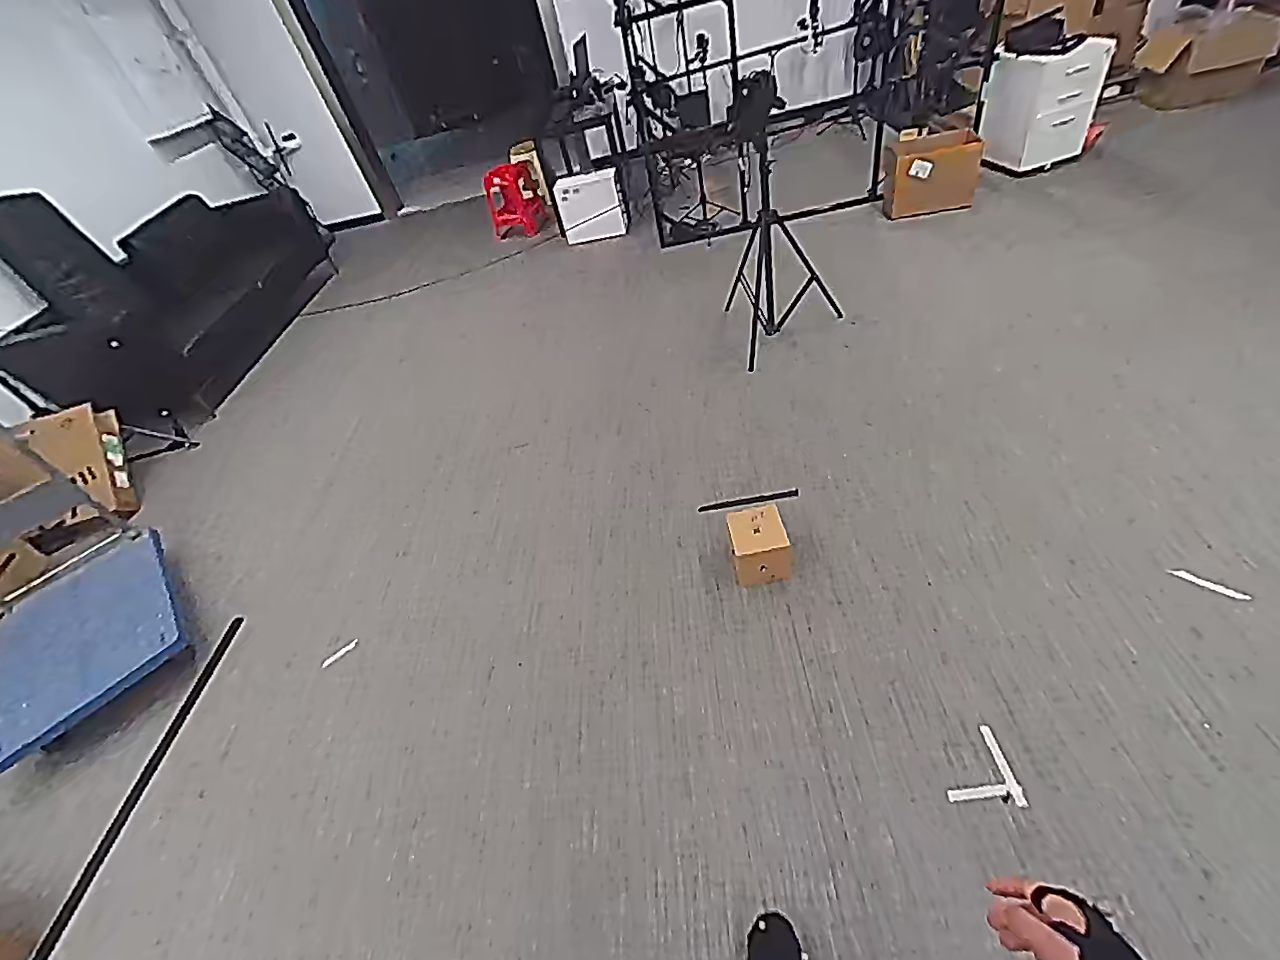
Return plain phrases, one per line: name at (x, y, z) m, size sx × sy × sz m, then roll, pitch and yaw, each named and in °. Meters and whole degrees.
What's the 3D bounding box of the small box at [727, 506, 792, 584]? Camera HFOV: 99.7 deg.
small box at (0.379, 0.212, 1.717) m, size 0.168 × 0.176 × 0.179 m, roll -12°, pitch 43°, yaw 5°
